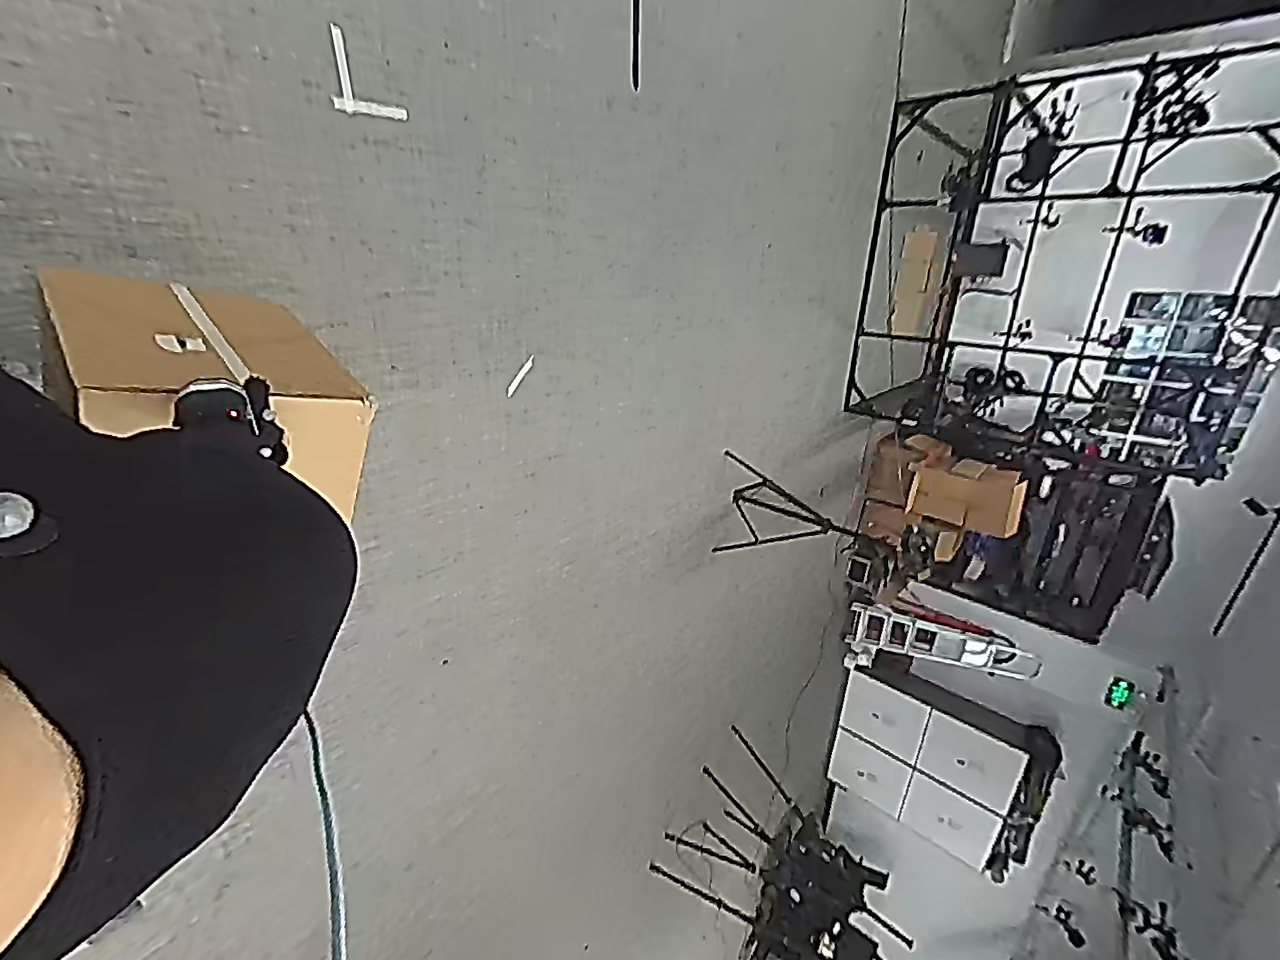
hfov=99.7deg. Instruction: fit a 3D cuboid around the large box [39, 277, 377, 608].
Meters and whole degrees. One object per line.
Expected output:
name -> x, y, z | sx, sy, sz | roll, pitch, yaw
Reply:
large box -> -0.686, -0.071, 0.852 | 0.320, 0.408, 0.320 | -7, 128, -51
